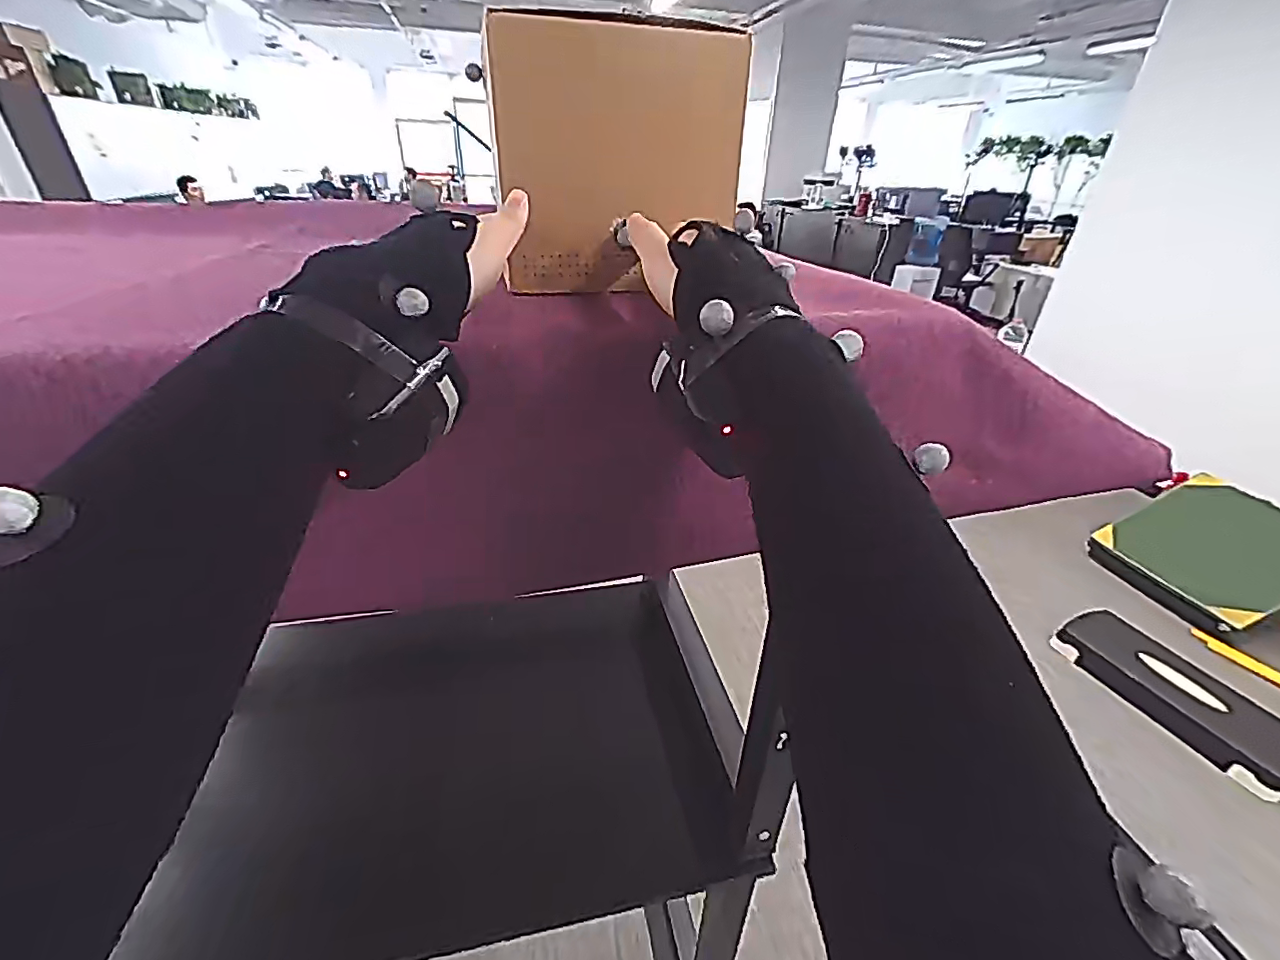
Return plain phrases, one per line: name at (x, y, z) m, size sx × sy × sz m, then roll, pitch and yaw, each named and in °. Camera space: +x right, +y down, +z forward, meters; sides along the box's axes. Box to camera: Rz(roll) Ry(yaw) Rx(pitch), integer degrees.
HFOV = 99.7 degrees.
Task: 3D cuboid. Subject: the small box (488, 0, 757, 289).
small box at (-0.027, -0.259, 0.442) m, size 0.179 × 0.176 × 0.168 m, roll -6°, pitch 30°, yaw -13°
